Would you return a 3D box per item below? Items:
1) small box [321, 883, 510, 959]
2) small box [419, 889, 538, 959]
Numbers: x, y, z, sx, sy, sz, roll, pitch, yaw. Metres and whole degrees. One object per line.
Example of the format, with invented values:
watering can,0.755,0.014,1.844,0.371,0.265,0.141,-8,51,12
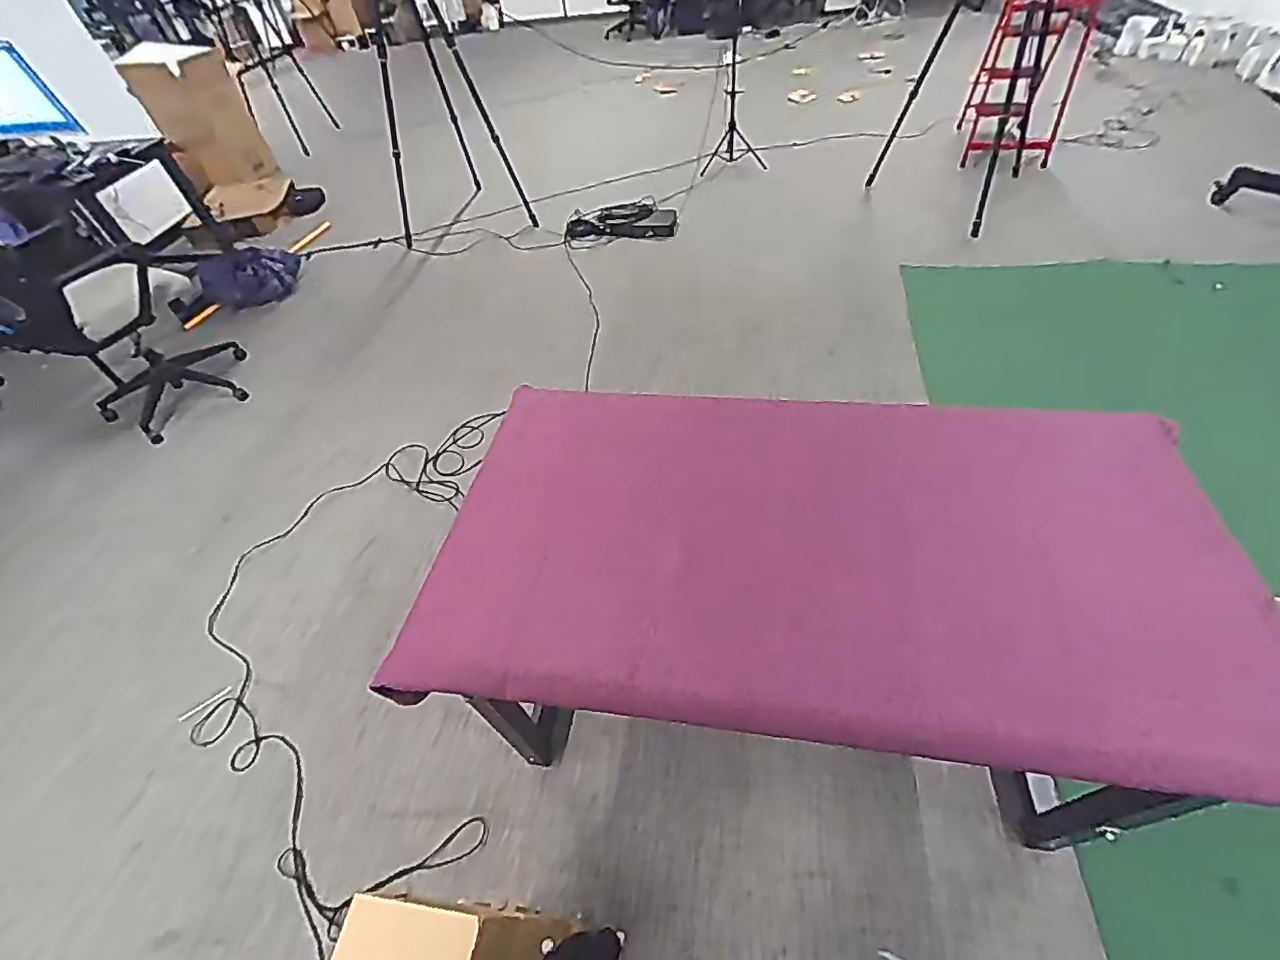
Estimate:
small box,-0.289,0.631,0.684,0.179,0.176,0.168,4,52,9
small box,-0.262,0.737,0.808,0.168,0.176,0.179,3,52,9
